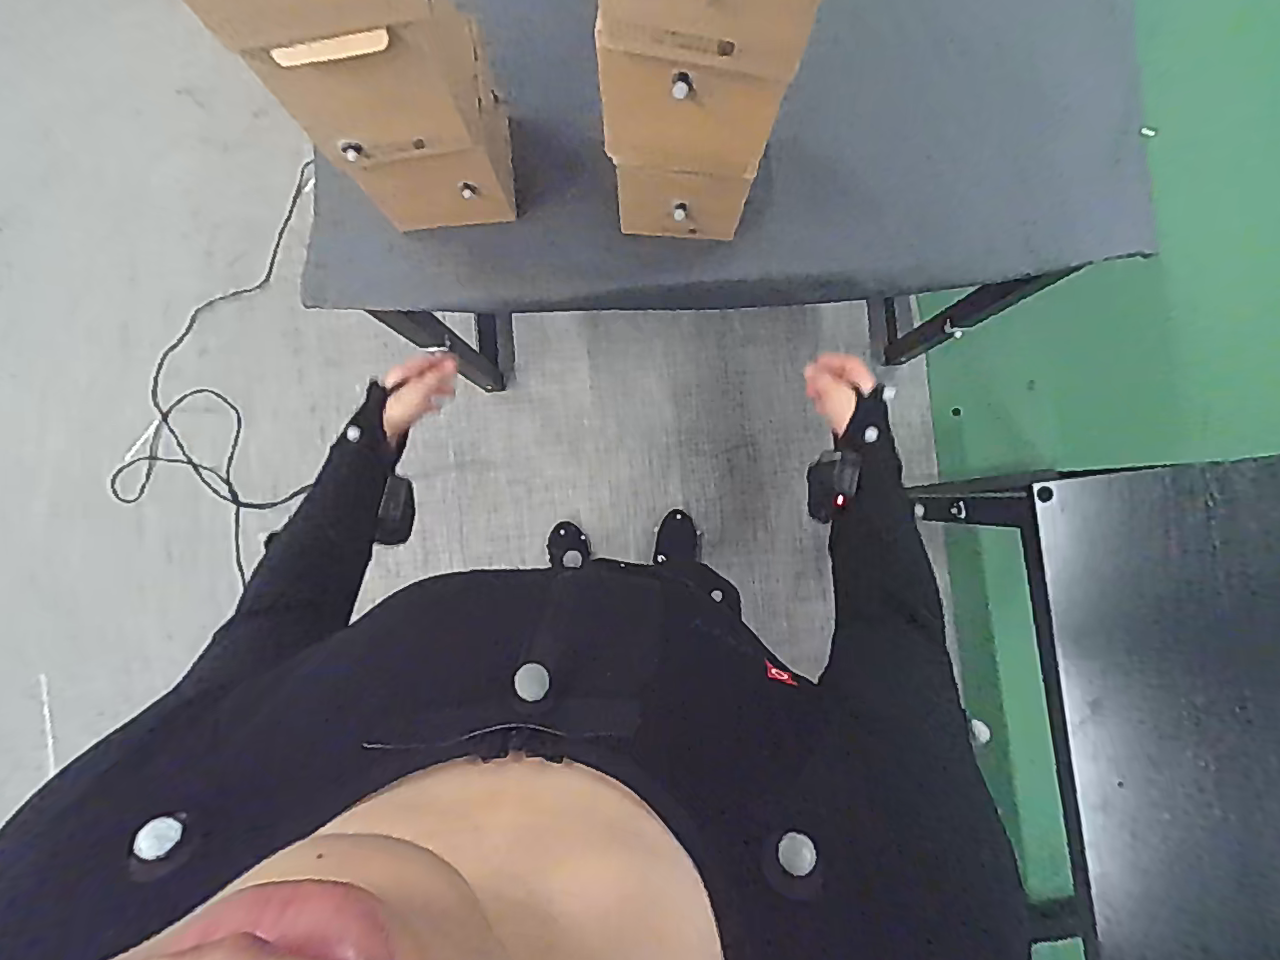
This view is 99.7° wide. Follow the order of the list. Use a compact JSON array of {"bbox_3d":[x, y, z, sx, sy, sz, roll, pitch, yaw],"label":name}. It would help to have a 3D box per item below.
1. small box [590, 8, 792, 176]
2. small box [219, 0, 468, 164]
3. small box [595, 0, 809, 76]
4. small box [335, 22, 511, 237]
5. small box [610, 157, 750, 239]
[{"bbox_3d":[0.057,-0.439,0.546,0.179,0.176,0.168,9,87,2],"label":"small box"},{"bbox_3d":[-0.289,-0.455,0.552,0.168,0.176,0.179,-10,85,0],"label":"small box"},{"bbox_3d":[0.056,-0.435,0.381,0.168,0.176,0.179,11,87,2],"label":"small box"},{"bbox_3d":[-0.277,-0.448,0.717,0.179,0.176,0.168,-6,86,1],"label":"small box"},{"bbox_3d":[0.056,-0.440,0.710,0.168,0.176,0.179,4,87,2],"label":"small box"}]
